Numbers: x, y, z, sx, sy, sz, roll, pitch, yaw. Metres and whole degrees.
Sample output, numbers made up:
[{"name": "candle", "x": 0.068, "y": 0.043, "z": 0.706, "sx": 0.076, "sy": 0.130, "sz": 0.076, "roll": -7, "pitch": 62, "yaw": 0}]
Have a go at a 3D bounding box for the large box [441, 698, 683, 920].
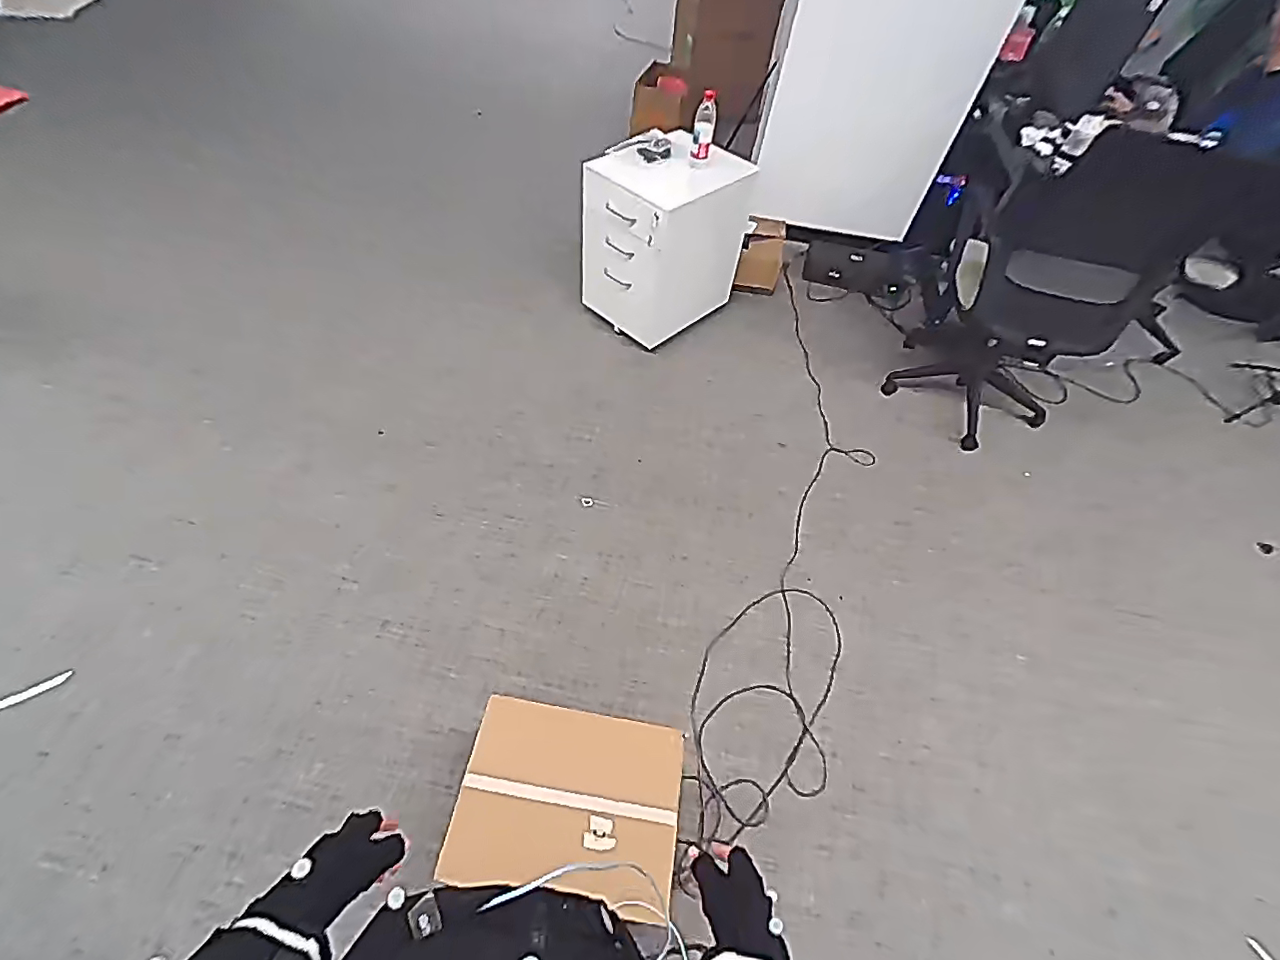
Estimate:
[{"name": "large box", "x": -0.144, "y": 0.687, "z": 1.127, "sx": 0.408, "sy": 0.320, "sz": 0.320, "roll": 11, "pitch": 52, "yaw": 1}]
